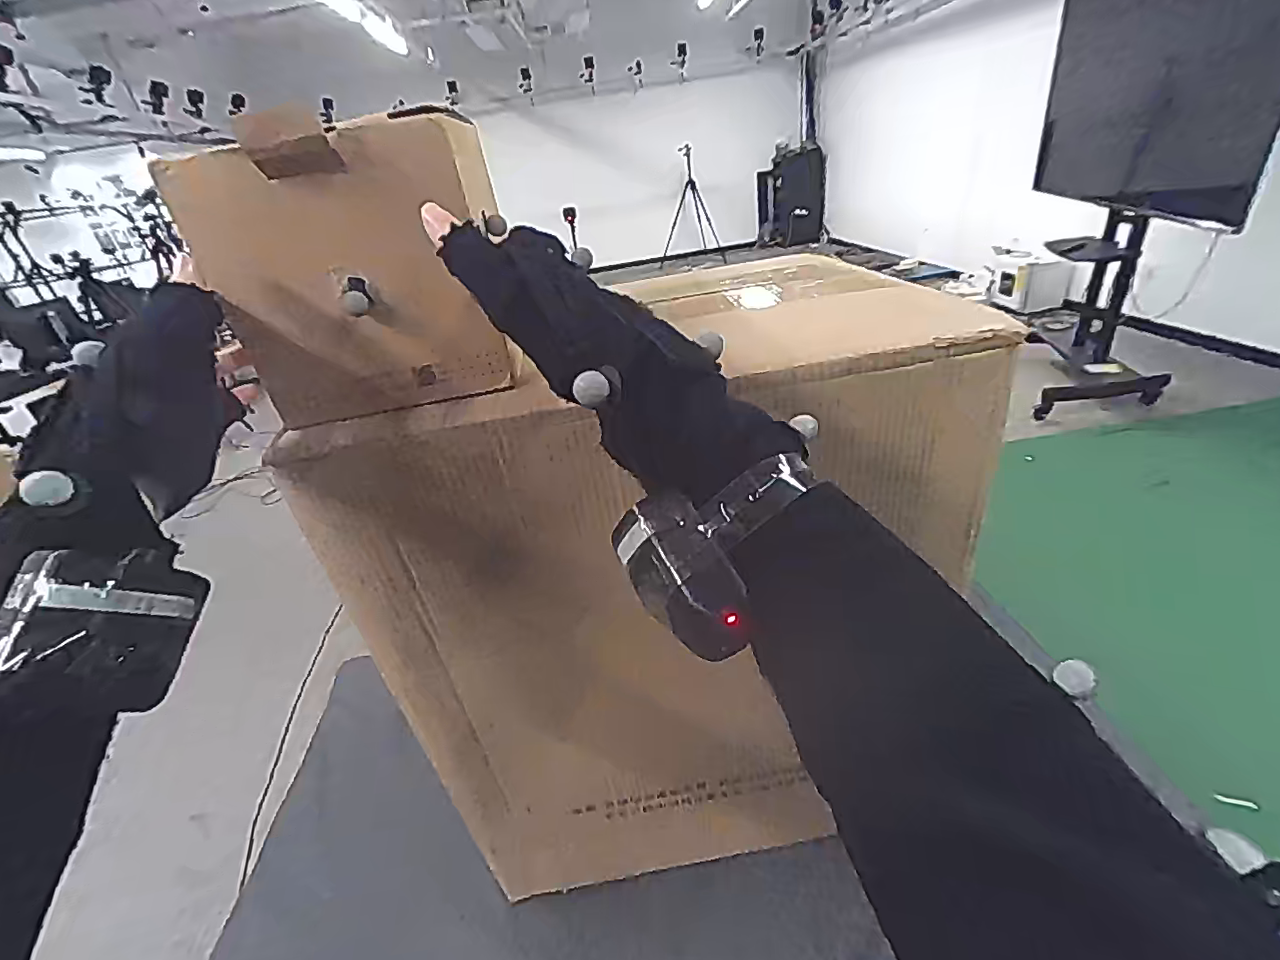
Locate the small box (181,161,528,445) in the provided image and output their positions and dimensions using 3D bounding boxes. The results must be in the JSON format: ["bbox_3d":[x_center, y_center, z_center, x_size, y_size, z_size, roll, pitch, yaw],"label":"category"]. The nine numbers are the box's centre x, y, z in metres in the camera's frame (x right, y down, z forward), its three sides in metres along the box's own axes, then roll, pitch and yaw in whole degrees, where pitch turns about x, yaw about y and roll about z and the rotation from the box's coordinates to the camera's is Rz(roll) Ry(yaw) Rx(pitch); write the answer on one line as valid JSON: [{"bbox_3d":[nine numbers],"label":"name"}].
[{"bbox_3d":[-0.190,-0.140,0.430,0.168,0.176,0.179,-14,31,-4],"label":"small box"}]
